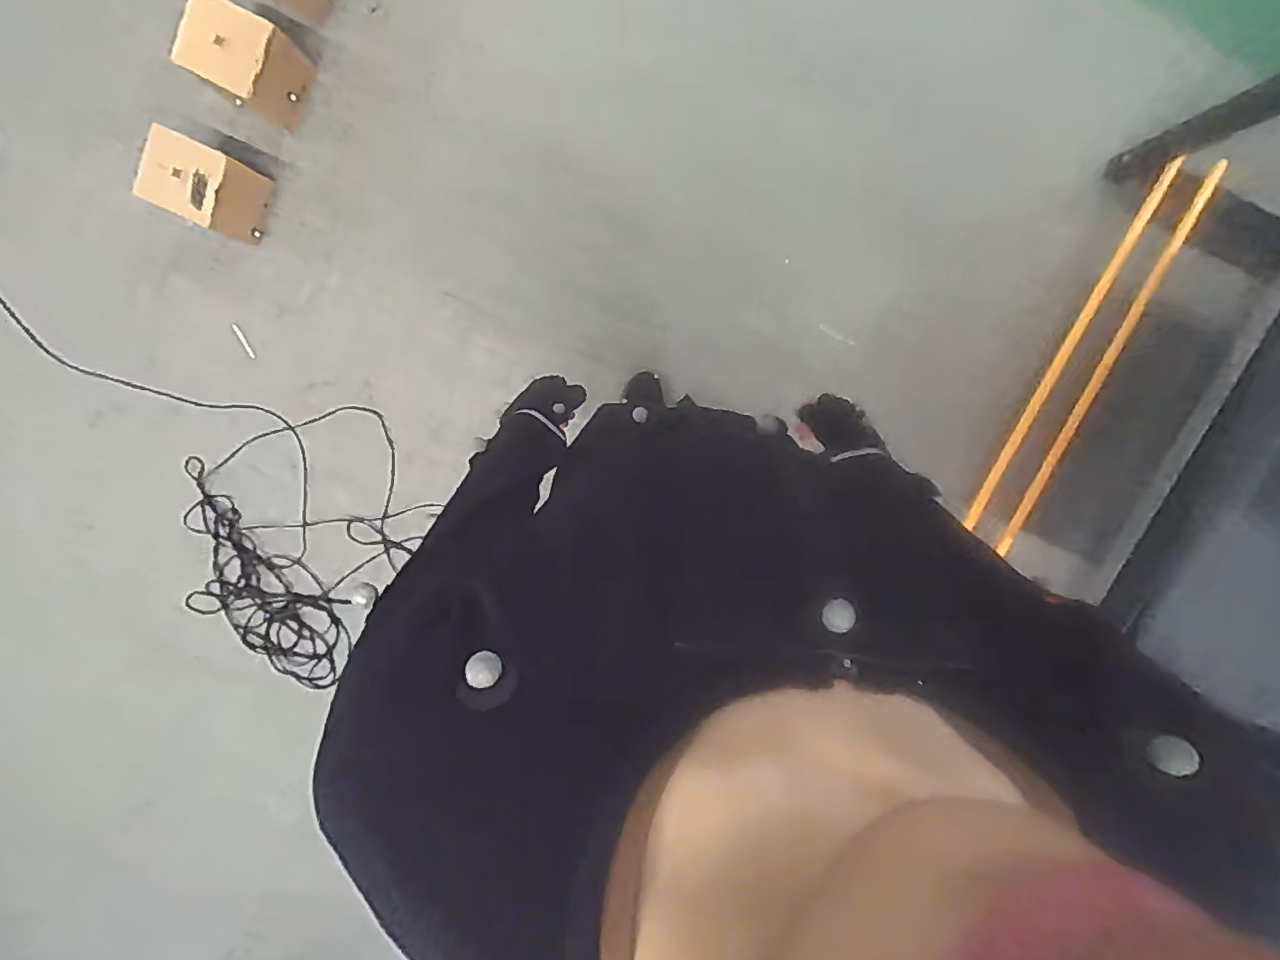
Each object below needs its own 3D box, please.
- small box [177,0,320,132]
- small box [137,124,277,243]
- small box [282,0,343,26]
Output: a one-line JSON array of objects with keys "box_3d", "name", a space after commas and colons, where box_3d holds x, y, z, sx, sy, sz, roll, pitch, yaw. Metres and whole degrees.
[{"box_3d": [-0.882, -0.943, 1.235, 0.179, 0.176, 0.168, 25, 98, -5], "name": "small box"}, {"box_3d": [-1.005, -0.682, 1.271, 0.179, 0.176, 0.168, 25, 97, -4], "name": "small box"}, {"box_3d": [-0.779, -1.175, 1.199, 0.179, 0.176, 0.168, 33, 97, -6], "name": "small box"}]
